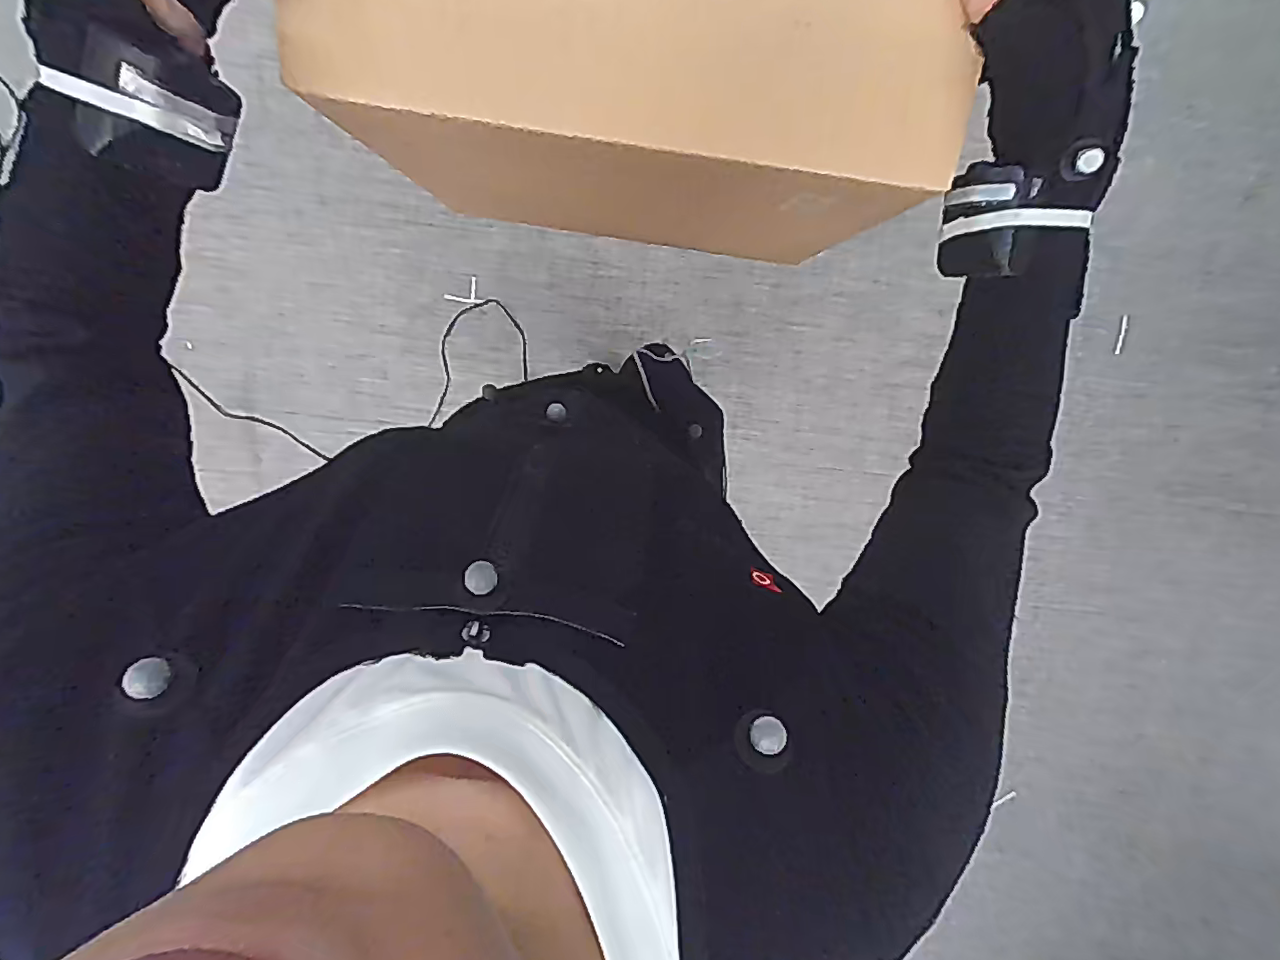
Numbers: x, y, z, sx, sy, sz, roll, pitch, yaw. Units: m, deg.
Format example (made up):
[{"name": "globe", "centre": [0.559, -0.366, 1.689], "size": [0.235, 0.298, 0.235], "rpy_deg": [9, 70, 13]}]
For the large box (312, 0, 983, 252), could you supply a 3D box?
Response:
[{"name": "large box", "centre": [0.012, -0.397, 0.446], "size": [0.408, 0.320, 0.320], "rpy_deg": [7, 105, -3]}]
